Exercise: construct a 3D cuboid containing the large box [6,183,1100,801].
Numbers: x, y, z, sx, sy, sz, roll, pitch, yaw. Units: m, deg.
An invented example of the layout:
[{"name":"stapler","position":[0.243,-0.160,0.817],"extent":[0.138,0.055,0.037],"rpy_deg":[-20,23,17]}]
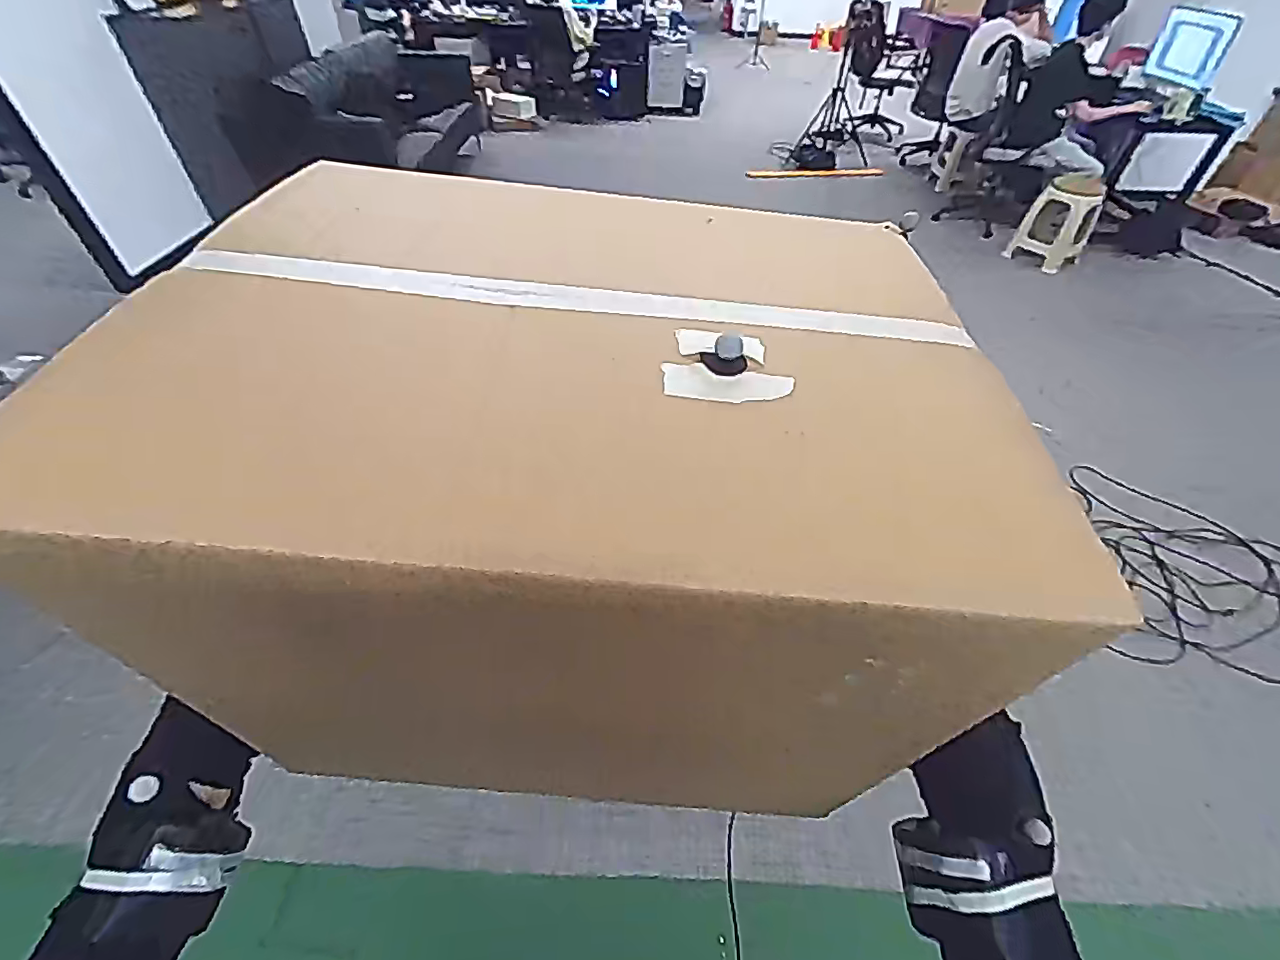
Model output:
[{"name":"large box","position":[-0.031,0.018,0.402],"extent":[0.408,0.320,0.320],"rpy_deg":[6,48,-2]}]
